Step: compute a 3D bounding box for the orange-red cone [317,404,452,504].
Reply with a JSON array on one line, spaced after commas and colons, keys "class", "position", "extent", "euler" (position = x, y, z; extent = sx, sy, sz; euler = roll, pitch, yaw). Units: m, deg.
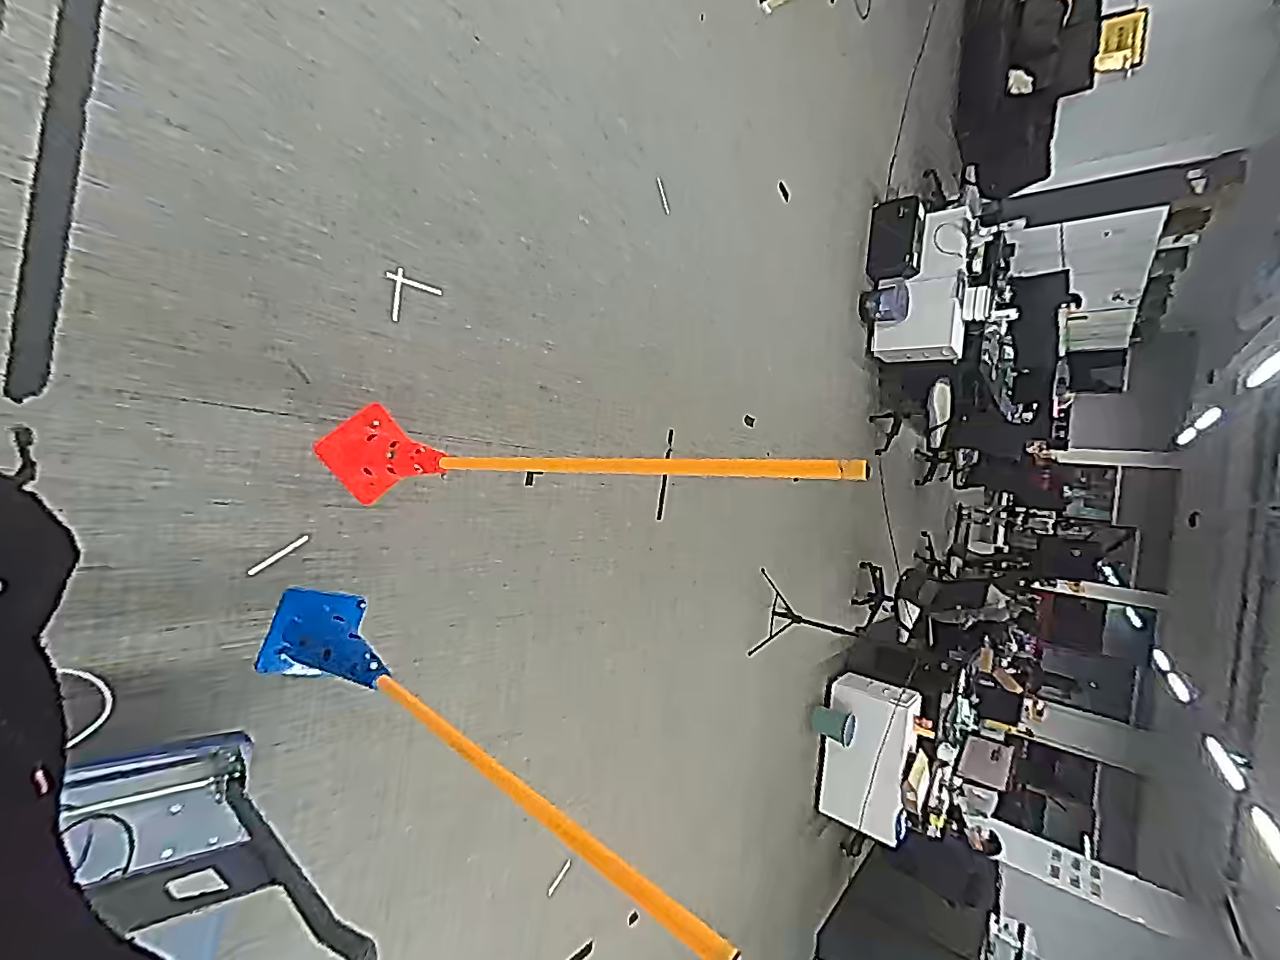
[{"class": "orange-red cone", "position": [-0.544, -0.049, 1.245], "extent": [0.199, 0.360, 0.198], "euler": [-49, 129, -33]}]

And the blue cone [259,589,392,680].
[{"class": "blue cone", "position": [-0.656, 0.377, 1.188], "extent": [0.193, 0.380, 0.192], "euler": [30, 71, -48]}]
